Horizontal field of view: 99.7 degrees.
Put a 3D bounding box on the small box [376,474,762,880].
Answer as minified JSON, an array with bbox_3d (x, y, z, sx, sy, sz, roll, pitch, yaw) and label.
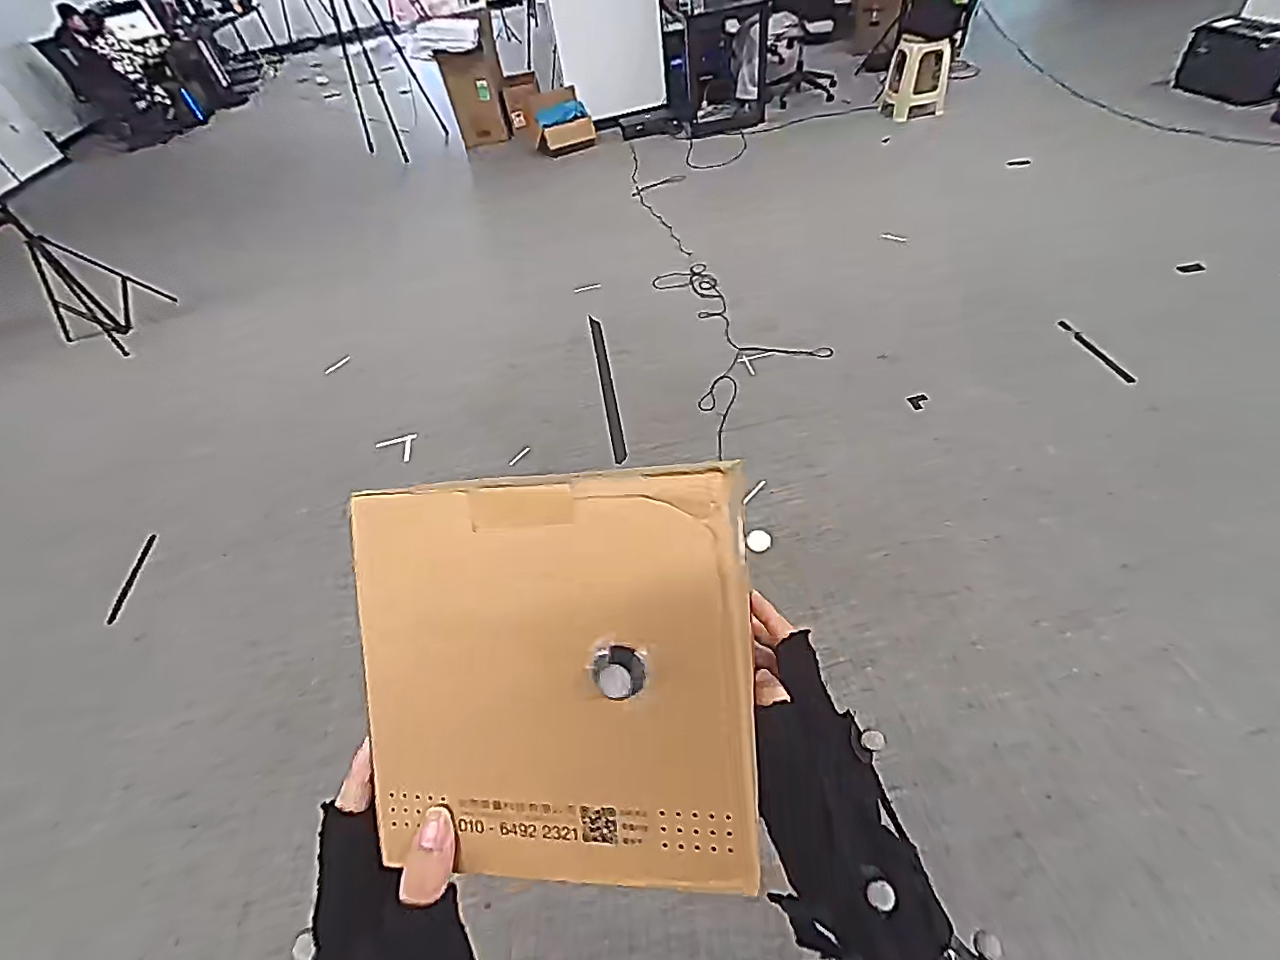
[{"bbox_3d":[-0.019,0.091,0.319,0.168,0.179,0.176,-5,91,14],"label":"small box"}]
